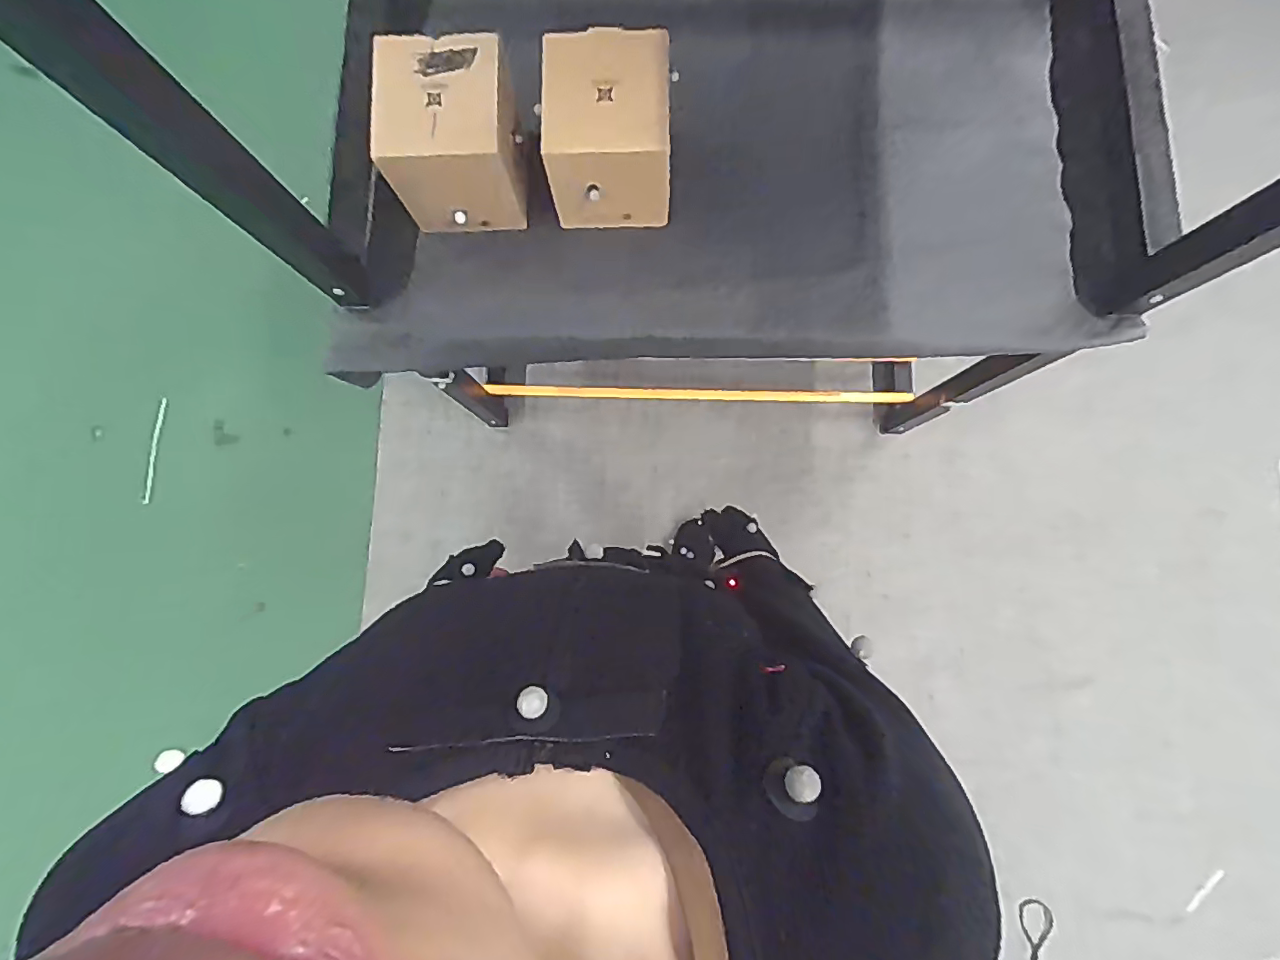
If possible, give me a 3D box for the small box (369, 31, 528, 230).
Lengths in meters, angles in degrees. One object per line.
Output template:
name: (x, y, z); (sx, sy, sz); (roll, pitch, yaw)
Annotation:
small box: (-0.260, -0.486, 0.772); (0.168, 0.176, 0.179); (-1, 83, 1)
